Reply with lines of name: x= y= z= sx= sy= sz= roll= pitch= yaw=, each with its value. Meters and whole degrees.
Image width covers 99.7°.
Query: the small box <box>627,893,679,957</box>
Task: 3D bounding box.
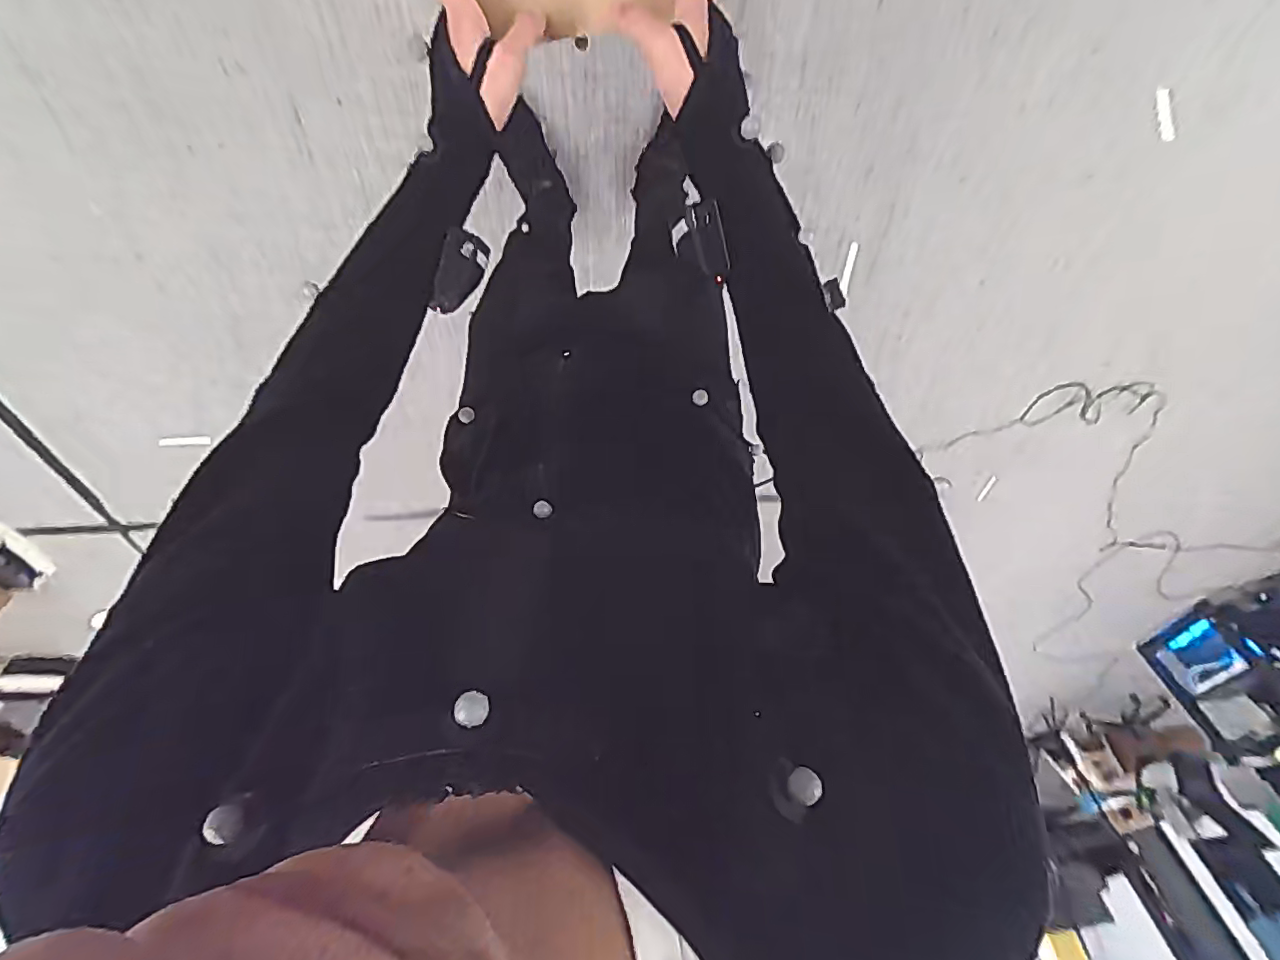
small box: x=0.050 y=1.722 z=2.094 sx=0.179 sy=0.176 sz=0.168 roll=-7 pitch=135 yaw=-1

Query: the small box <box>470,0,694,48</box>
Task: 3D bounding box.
small box: x=-0.052 y=-0.471 z=0.423 sx=0.179 sy=0.176 sz=0.168 roll=-5 pitch=139 yaw=8
